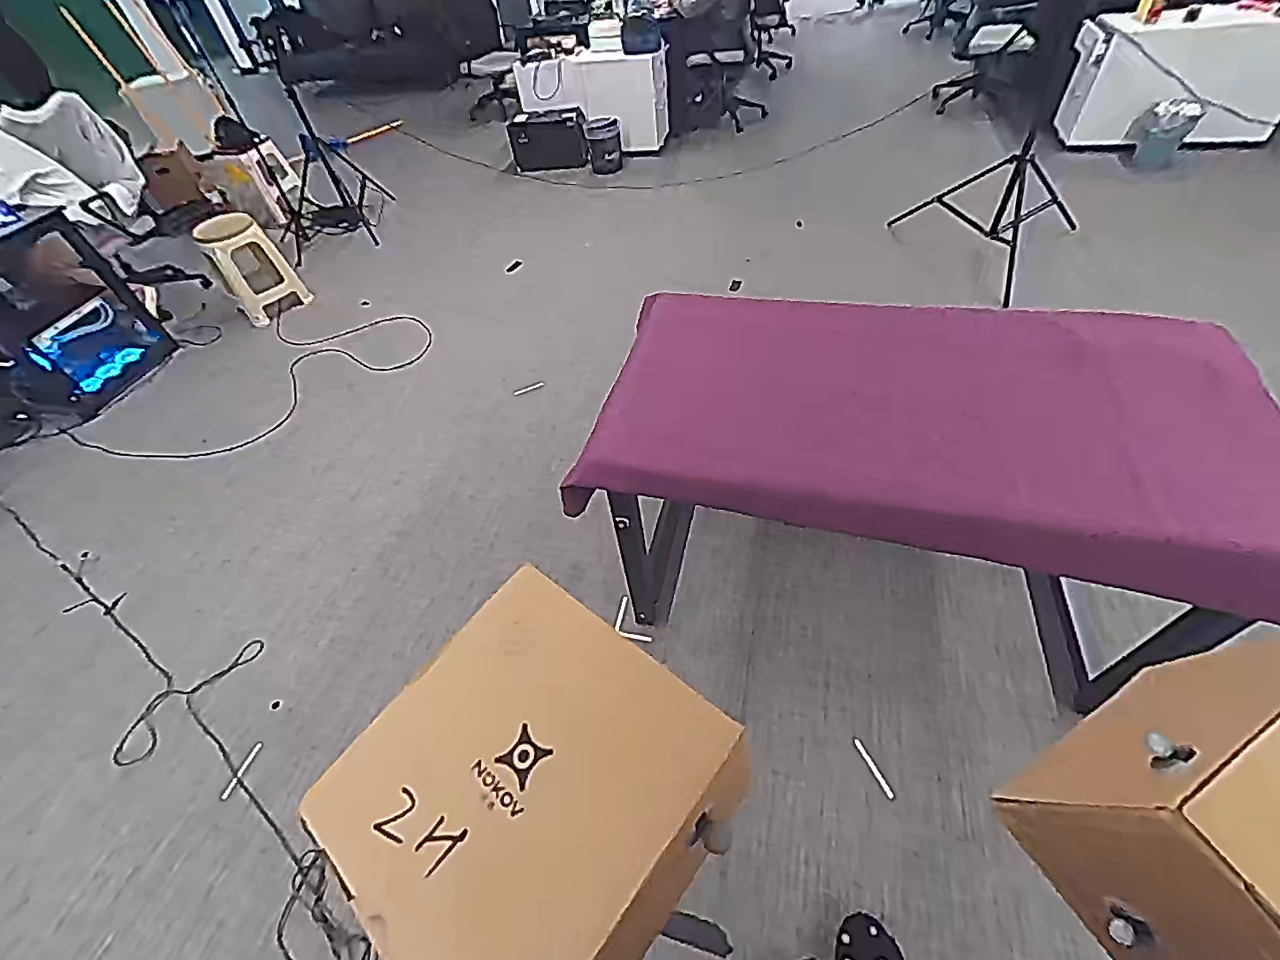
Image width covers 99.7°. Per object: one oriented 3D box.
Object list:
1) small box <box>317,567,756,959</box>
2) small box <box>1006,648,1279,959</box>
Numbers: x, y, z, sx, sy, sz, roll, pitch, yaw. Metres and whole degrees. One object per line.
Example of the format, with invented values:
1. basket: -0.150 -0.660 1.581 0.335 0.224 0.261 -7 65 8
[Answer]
1. small box: -0.043 0.194 0.340 0.168 0.176 0.179 29 66 30
2. small box: 0.356 0.206 0.294 0.179 0.176 0.168 -30 63 -12
